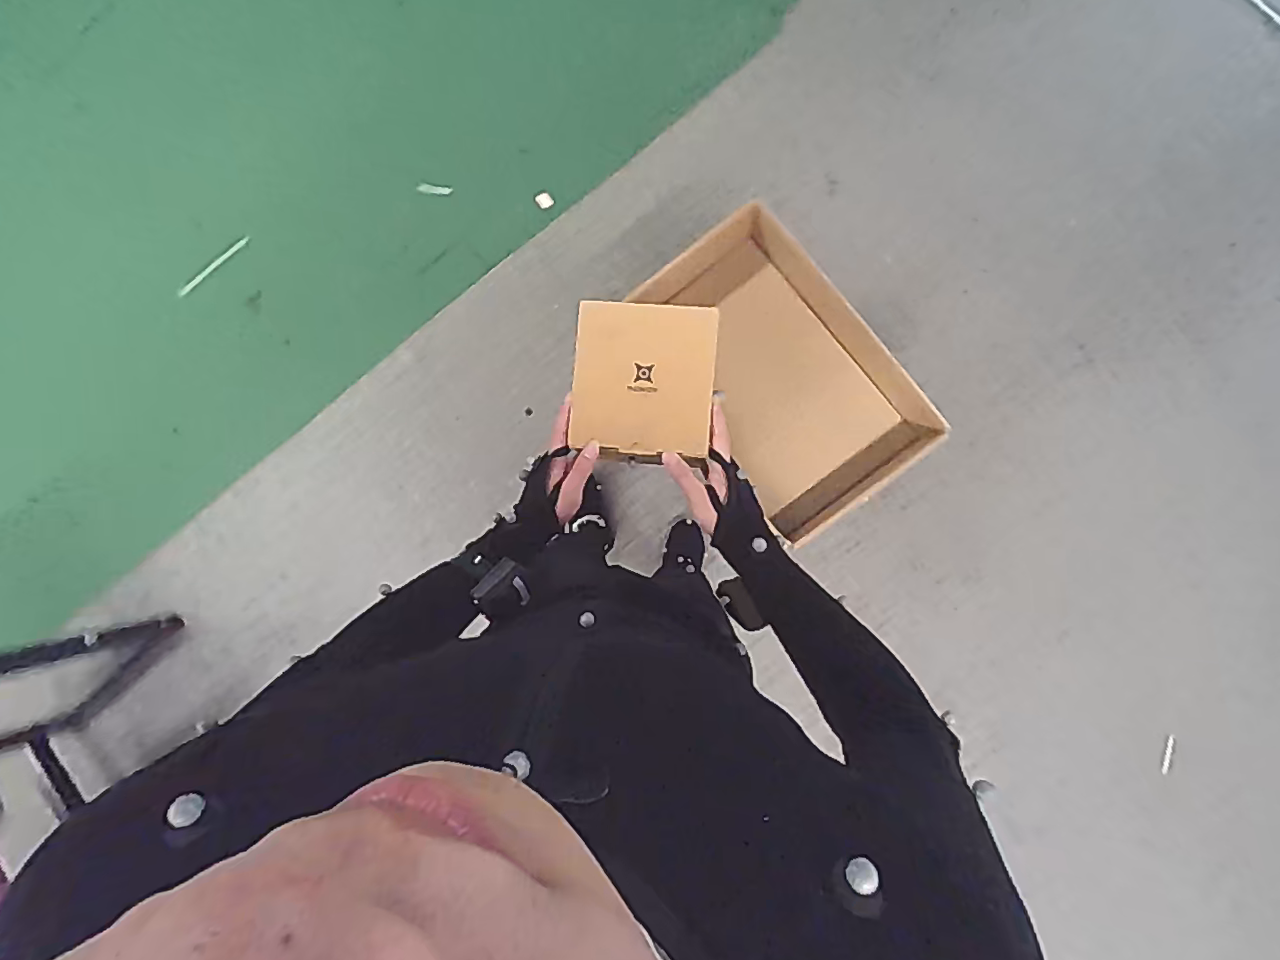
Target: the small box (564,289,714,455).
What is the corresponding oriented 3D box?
[{"bbox_3d":[0.000,-0.128,0.701,0.168,0.176,0.179,3,90,2],"label":"small box"}]
